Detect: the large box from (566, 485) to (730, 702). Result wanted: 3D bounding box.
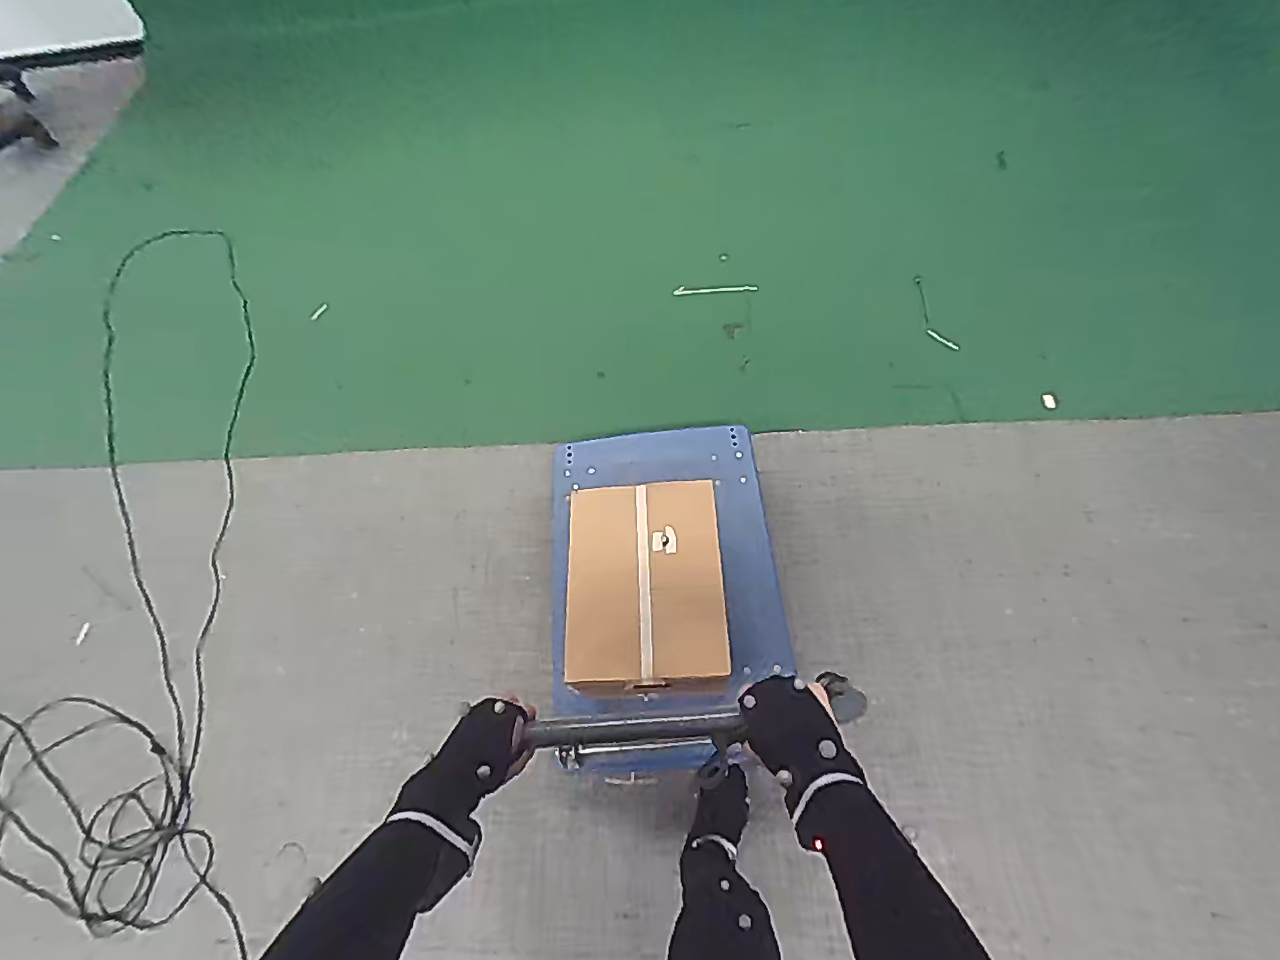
[{"bbox_3d":[0.024,0.267,1.225,0.320,0.320,0.408,-4,61,5],"label":"large box"}]
